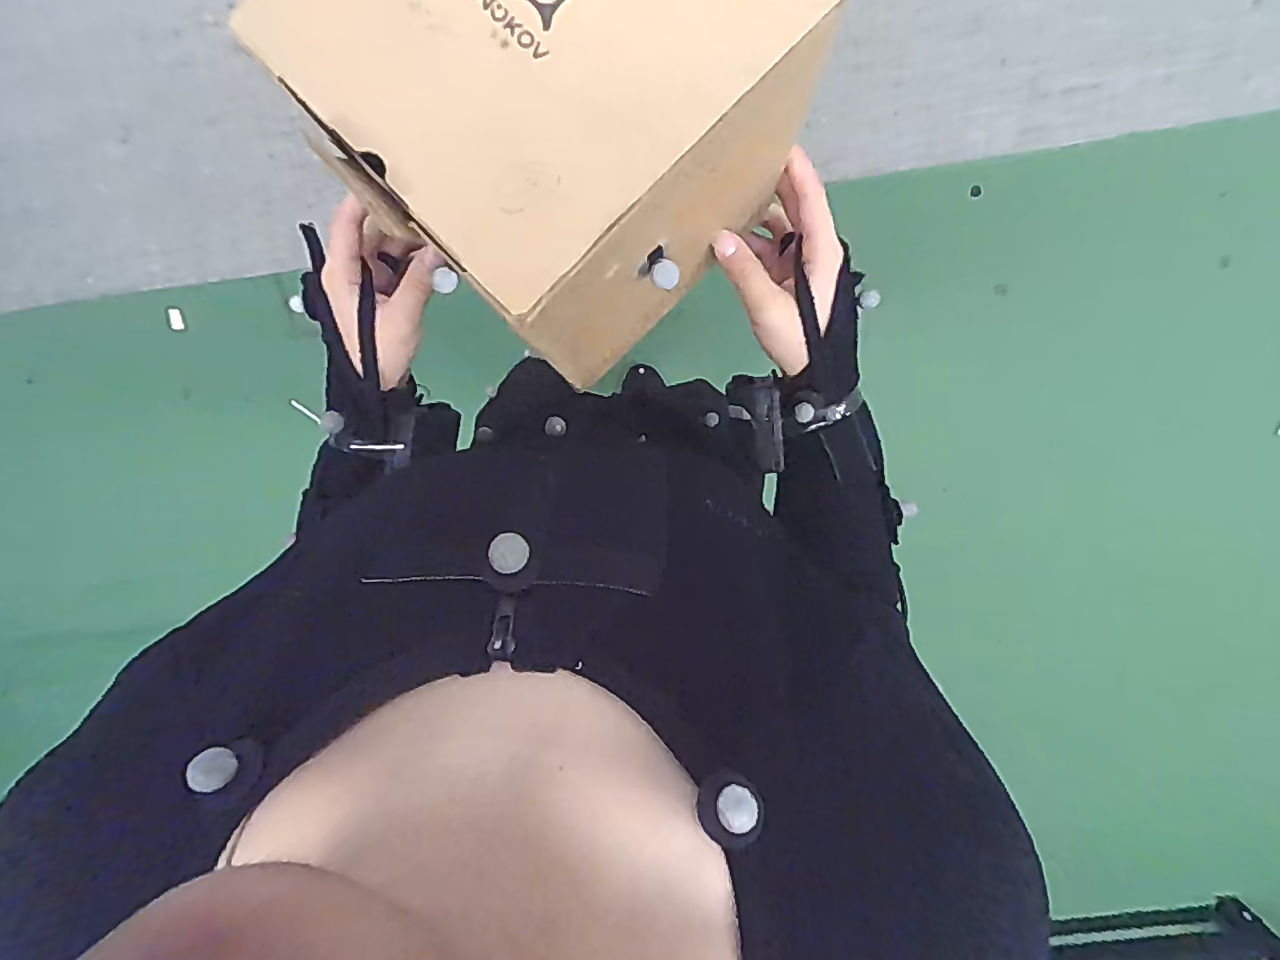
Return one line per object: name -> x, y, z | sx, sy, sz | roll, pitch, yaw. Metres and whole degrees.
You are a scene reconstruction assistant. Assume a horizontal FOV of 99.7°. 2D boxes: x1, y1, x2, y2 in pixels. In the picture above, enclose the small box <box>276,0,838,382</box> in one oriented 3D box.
small box -> -0.032, -0.176, 0.297 | 0.179, 0.176, 0.168 | -44, 88, 2
